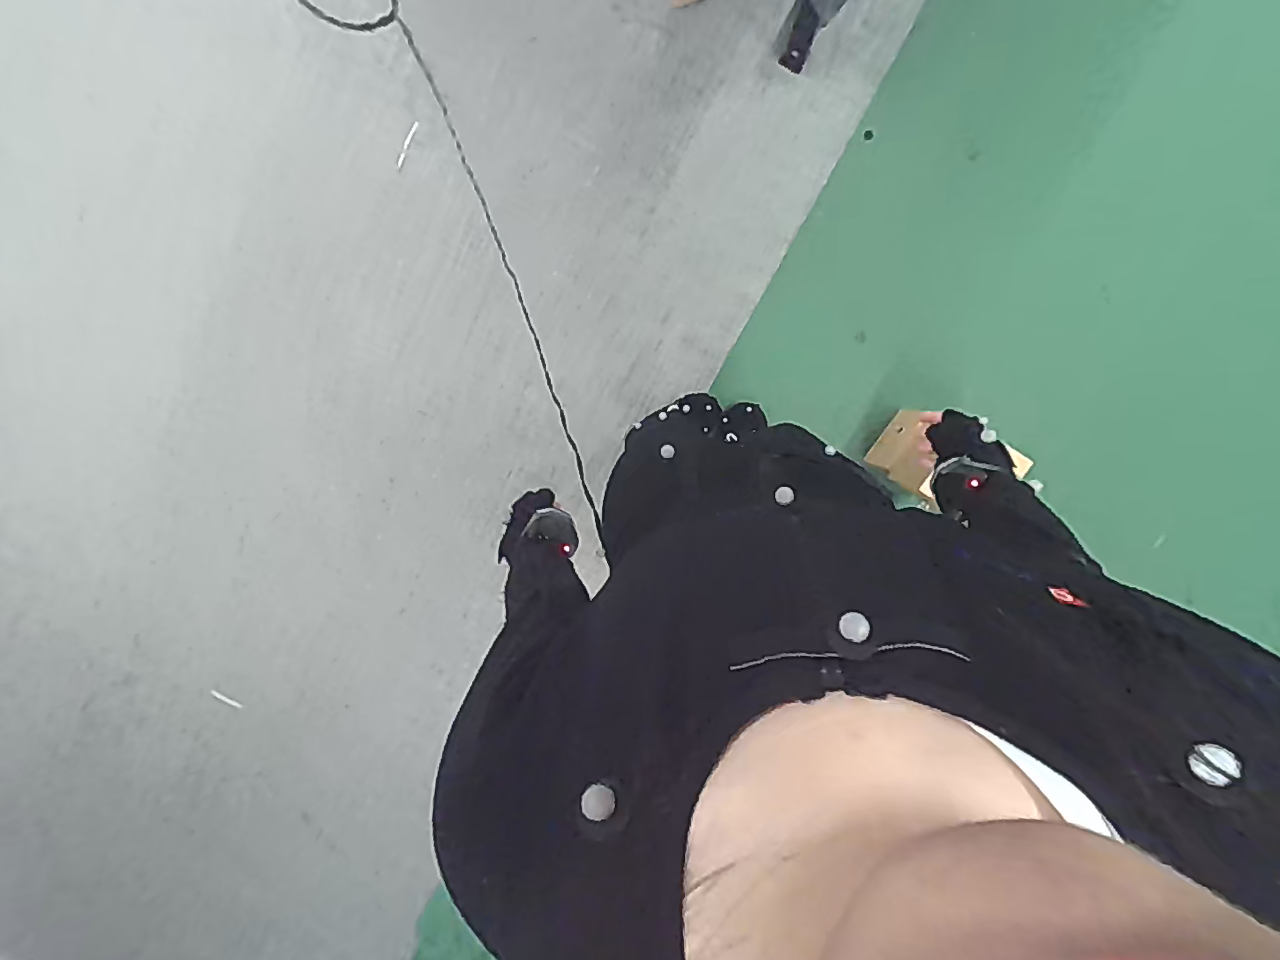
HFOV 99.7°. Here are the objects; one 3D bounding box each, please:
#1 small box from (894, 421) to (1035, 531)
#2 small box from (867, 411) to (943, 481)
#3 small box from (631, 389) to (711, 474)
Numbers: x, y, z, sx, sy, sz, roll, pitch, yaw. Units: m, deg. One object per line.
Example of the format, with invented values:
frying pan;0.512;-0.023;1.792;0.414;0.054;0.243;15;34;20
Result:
small box;0.703;-0.019;1.198;0.168;0.176;0.179;33;100;-2
small box;0.709;-0.058;1.358;0.179;0.176;0.168;33;100;-2
small box;0.085;-0.126;1.395;0.168;0.176;0.179;6;75;16
